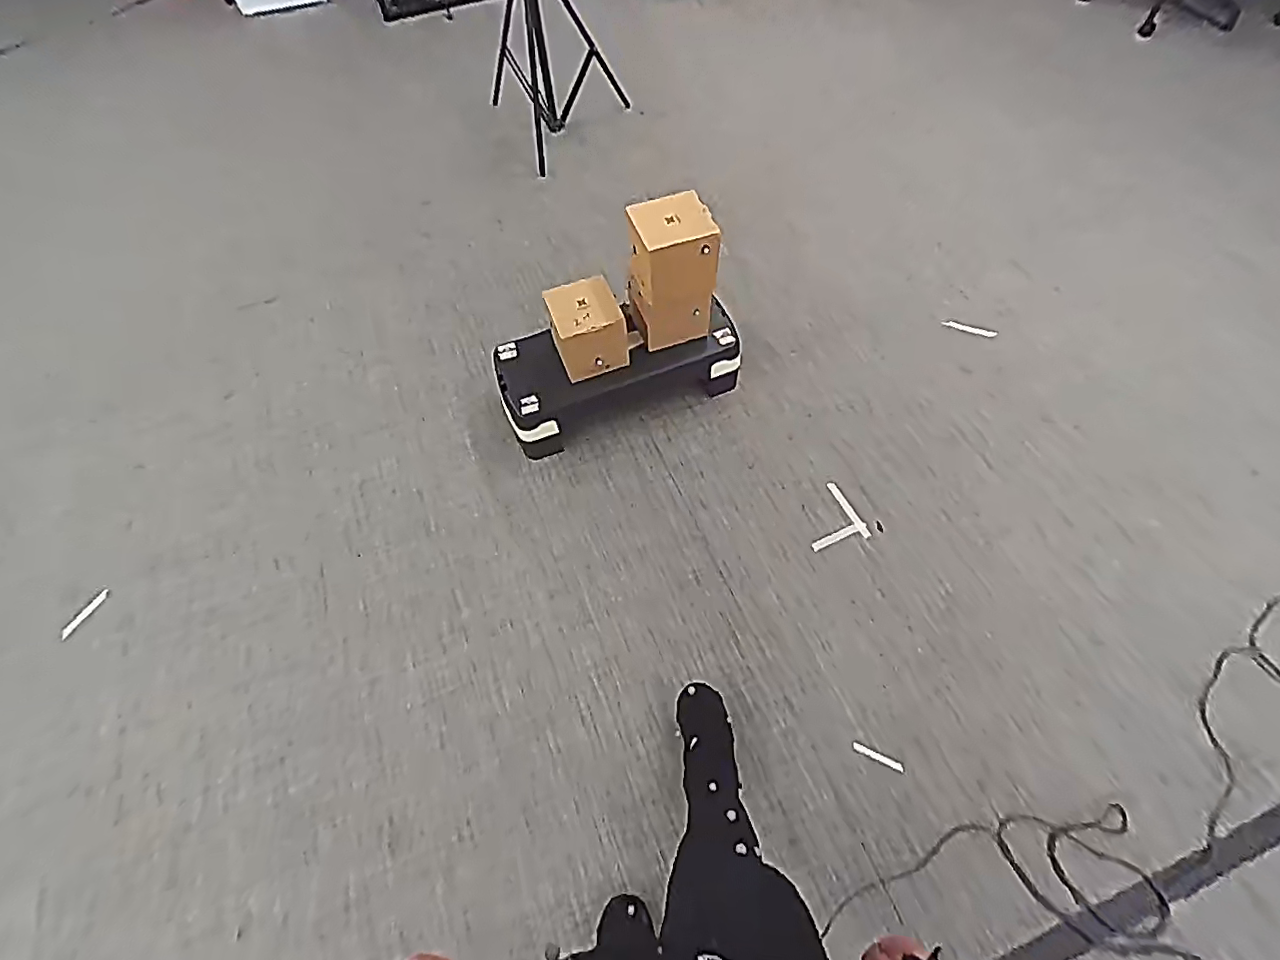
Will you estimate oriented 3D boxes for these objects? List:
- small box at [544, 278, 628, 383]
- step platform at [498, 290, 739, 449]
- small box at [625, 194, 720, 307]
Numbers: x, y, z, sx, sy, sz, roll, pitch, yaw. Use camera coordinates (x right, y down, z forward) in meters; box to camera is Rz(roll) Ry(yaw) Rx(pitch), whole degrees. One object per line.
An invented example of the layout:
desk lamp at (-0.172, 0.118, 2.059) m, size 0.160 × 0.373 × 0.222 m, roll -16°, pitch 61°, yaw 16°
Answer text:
small box at (-0.137, -0.385, 1.405) m, size 0.168 × 0.176 × 0.179 m, roll -20°, pitch 63°, yaw -8°
step platform at (-0.059, -0.345, 1.577) m, size 0.684 × 0.204 × 0.286 m, roll -22°, pitch 62°, yaw -8°
small box at (0.076, -0.542, 1.295) m, size 0.179 × 0.176 × 0.168 m, roll -18°, pitch 62°, yaw -8°
